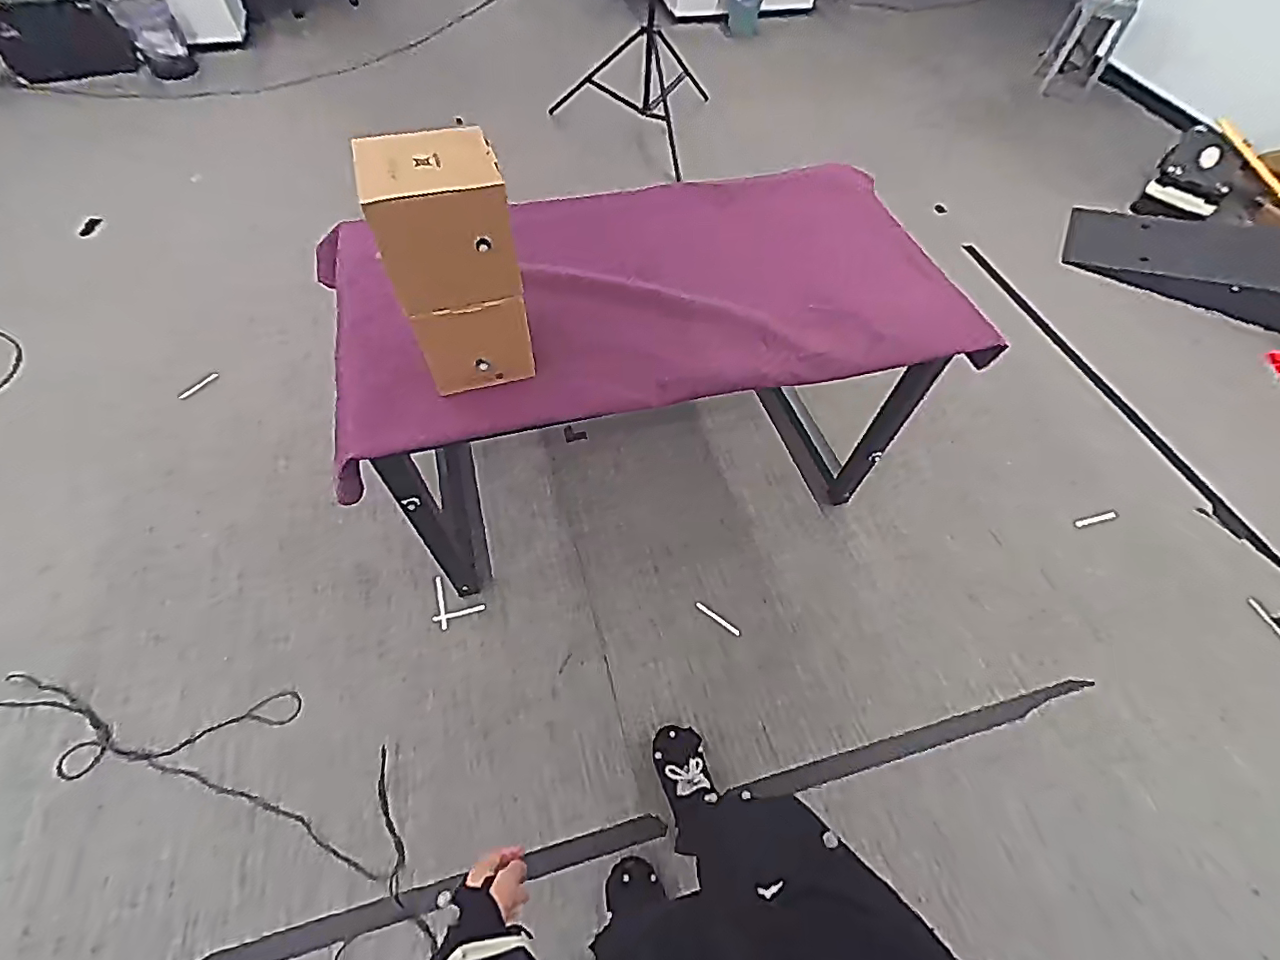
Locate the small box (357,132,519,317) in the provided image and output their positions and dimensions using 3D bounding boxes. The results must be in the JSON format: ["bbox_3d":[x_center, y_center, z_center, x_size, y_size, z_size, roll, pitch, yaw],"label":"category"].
[{"bbox_3d":[-0.278,-0.361,0.773,0.179,0.176,0.168,-16,58,-12],"label":"small box"}]

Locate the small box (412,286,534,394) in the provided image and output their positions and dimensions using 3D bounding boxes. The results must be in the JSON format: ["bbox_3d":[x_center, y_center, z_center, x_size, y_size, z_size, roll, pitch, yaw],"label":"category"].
[{"bbox_3d":[-0.283,-0.273,0.909,0.168,0.176,0.179,-15,59,-12],"label":"small box"}]
